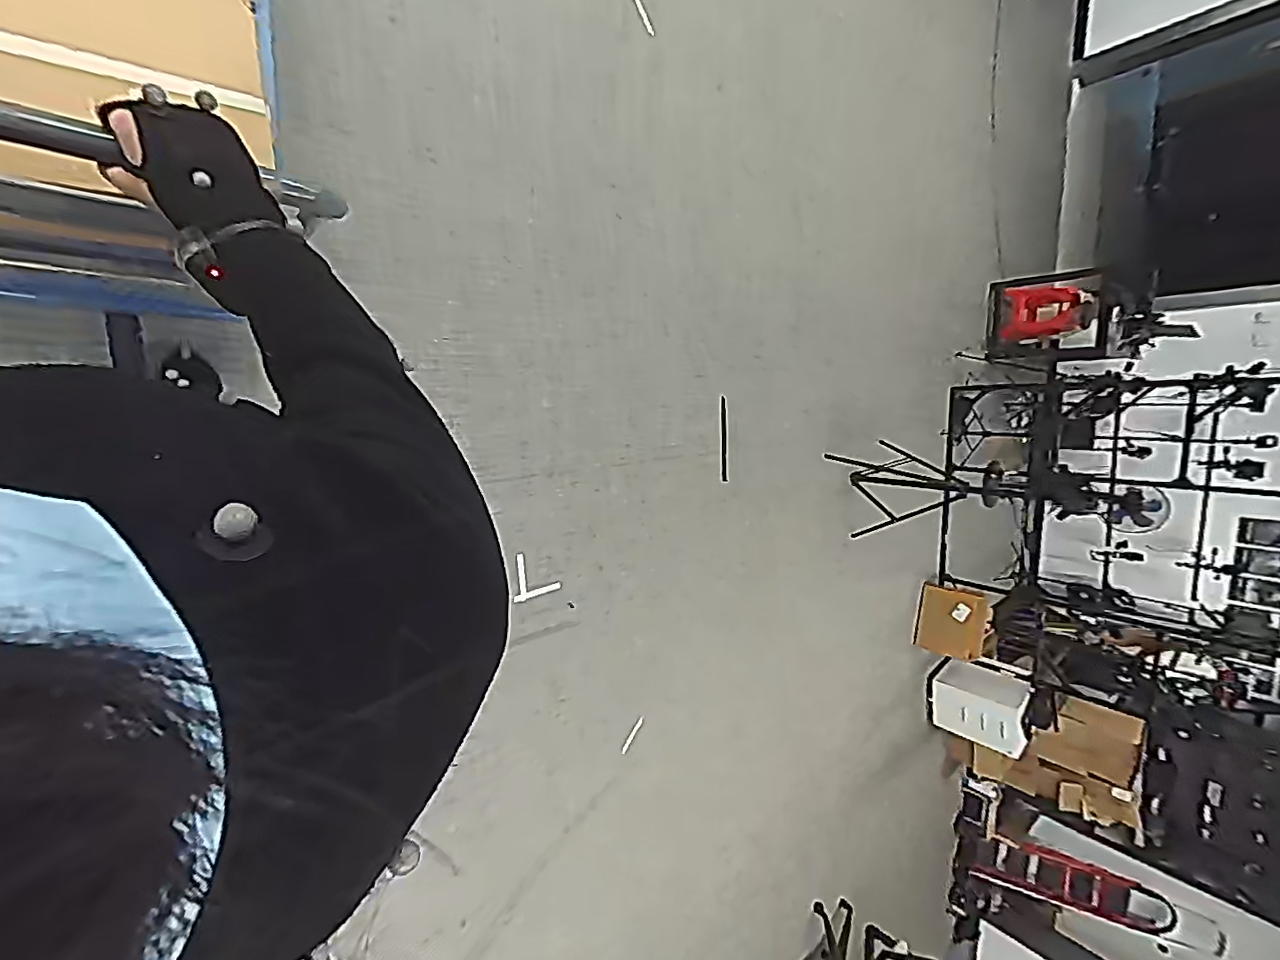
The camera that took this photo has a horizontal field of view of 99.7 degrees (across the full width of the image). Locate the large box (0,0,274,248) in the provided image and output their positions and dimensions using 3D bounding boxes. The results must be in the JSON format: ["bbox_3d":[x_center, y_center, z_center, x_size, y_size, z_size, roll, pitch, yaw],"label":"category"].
[{"bbox_3d":[-0.830,-0.563,0.806,0.408,0.320,0.320,-10,103,-41],"label":"large box"}]
